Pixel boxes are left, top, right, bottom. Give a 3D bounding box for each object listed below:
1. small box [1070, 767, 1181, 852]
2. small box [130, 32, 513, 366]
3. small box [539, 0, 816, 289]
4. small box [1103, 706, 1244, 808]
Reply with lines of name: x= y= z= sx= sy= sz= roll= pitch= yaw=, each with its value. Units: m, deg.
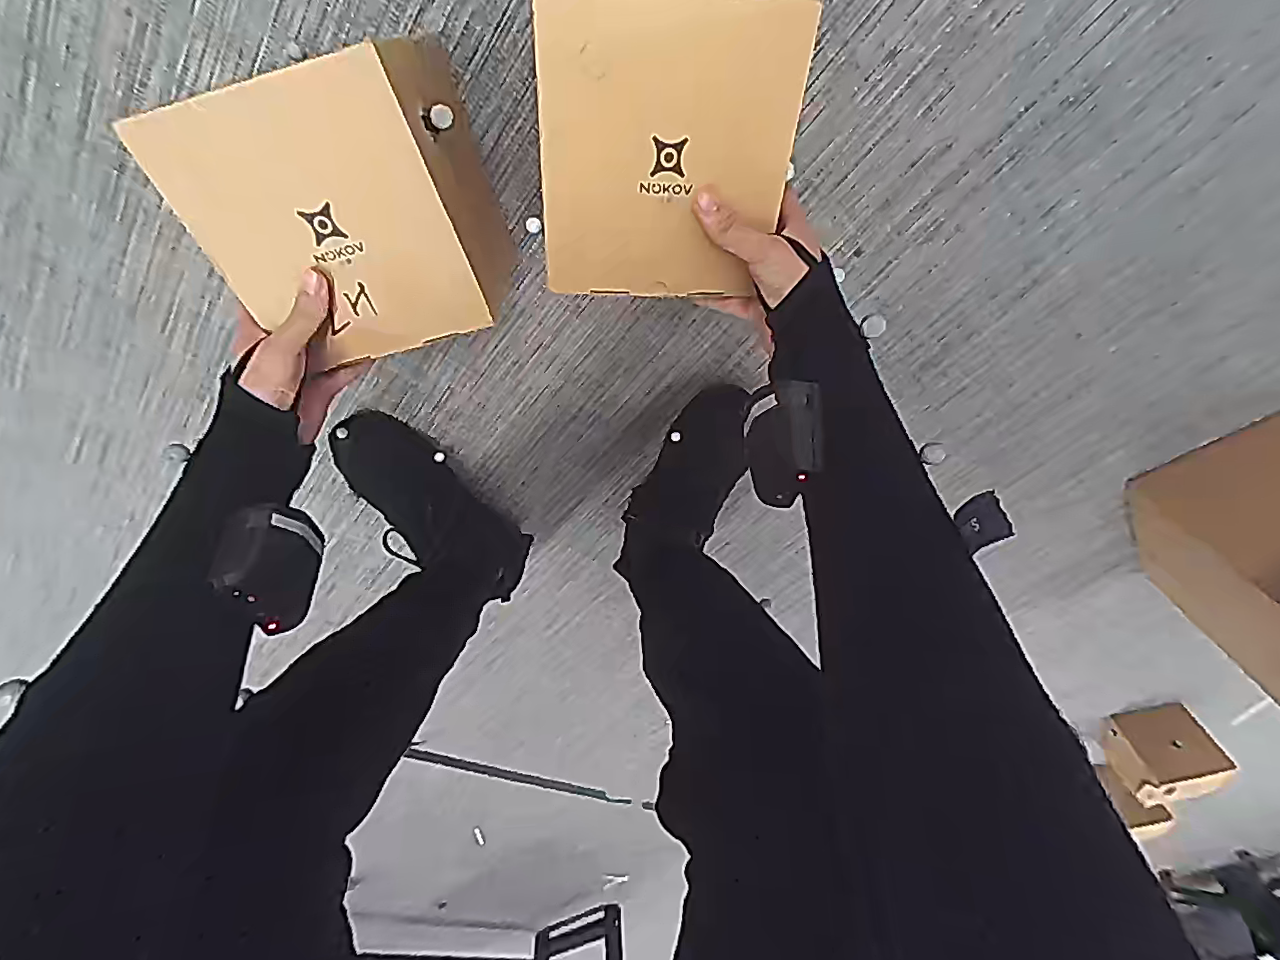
small box: x=1.460 y=0.991 z=1.637 sx=0.179 sy=0.176 sz=0.168 roll=-23 pitch=128 yaw=12
small box: x=-0.212 y=-0.221 z=0.426 sx=0.168 sy=0.176 sz=0.179 roll=-13 pitch=131 yaw=5
small box: x=0.010 y=-0.265 z=0.417 sx=0.168 sy=0.176 sz=0.179 roll=-1 pitch=131 yaw=-6
small box: x=1.348 y=0.707 z=1.385 sx=0.179 sy=0.176 sz=0.168 roll=-17 pitch=130 yaw=8
